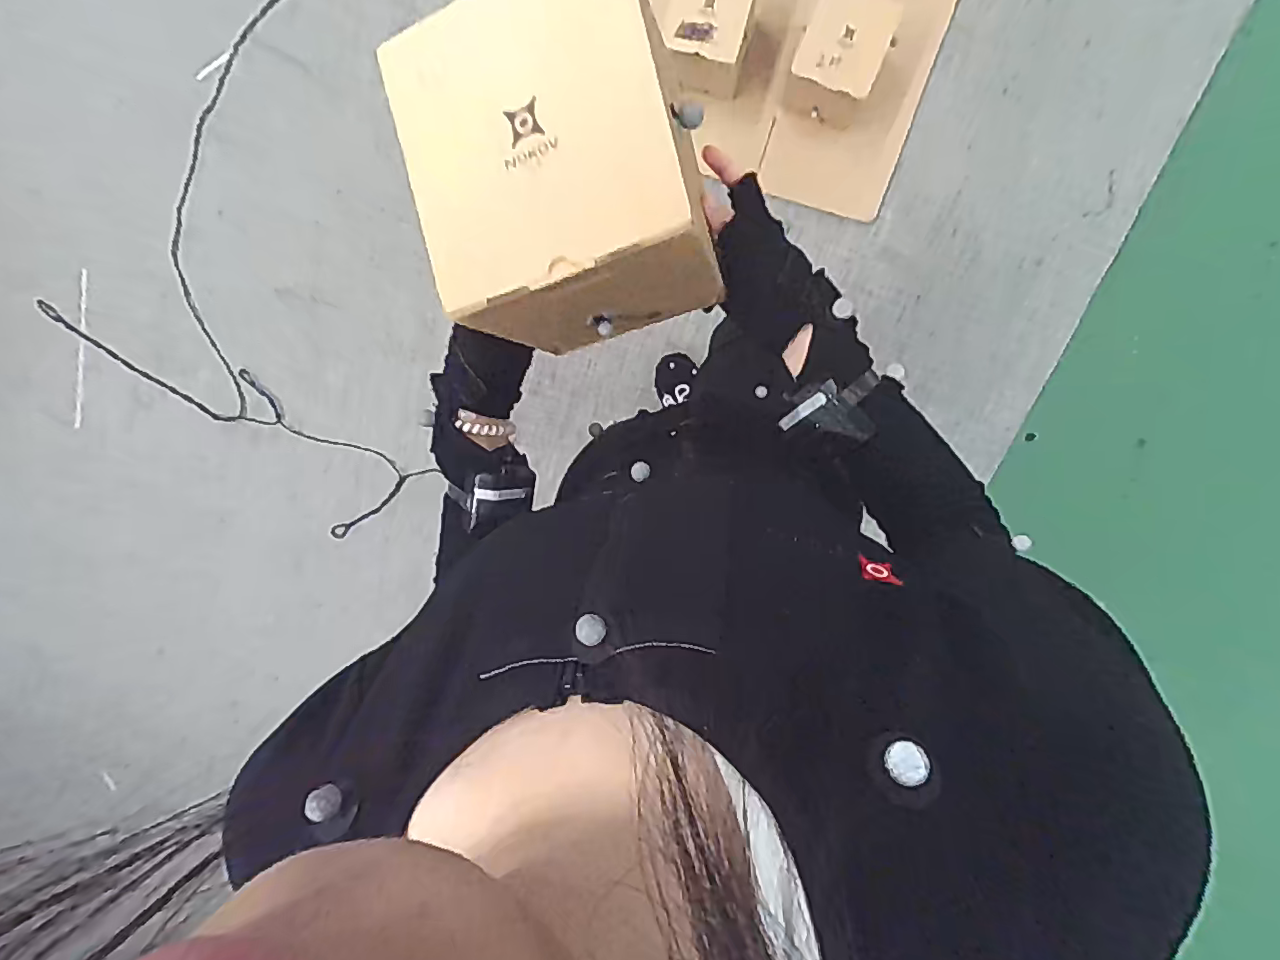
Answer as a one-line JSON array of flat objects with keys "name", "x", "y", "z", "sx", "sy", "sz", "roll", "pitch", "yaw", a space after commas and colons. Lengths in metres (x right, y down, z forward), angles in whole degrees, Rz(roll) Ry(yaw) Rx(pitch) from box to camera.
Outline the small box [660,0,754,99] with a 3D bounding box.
[{"name": "small box", "x": 0.142, "y": -0.954, "z": 1.151, "sx": 0.168, "sy": 0.176, "sz": 0.179, "roll": 16, "pitch": 104, "yaw": 2}]

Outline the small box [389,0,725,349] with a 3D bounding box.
[{"name": "small box", "x": -0.042, "y": -0.212, "z": 0.397, "sx": 0.168, "sy": 0.176, "sz": 0.179, "roll": -14, "pitch": 91, "yaw": 16}]

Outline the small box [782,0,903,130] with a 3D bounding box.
[{"name": "small box", "x": 0.413, "y": -0.886, "z": 1.141, "sx": 0.168, "sy": 0.176, "sz": 0.179, "roll": 22, "pitch": 106, "yaw": 2}]
